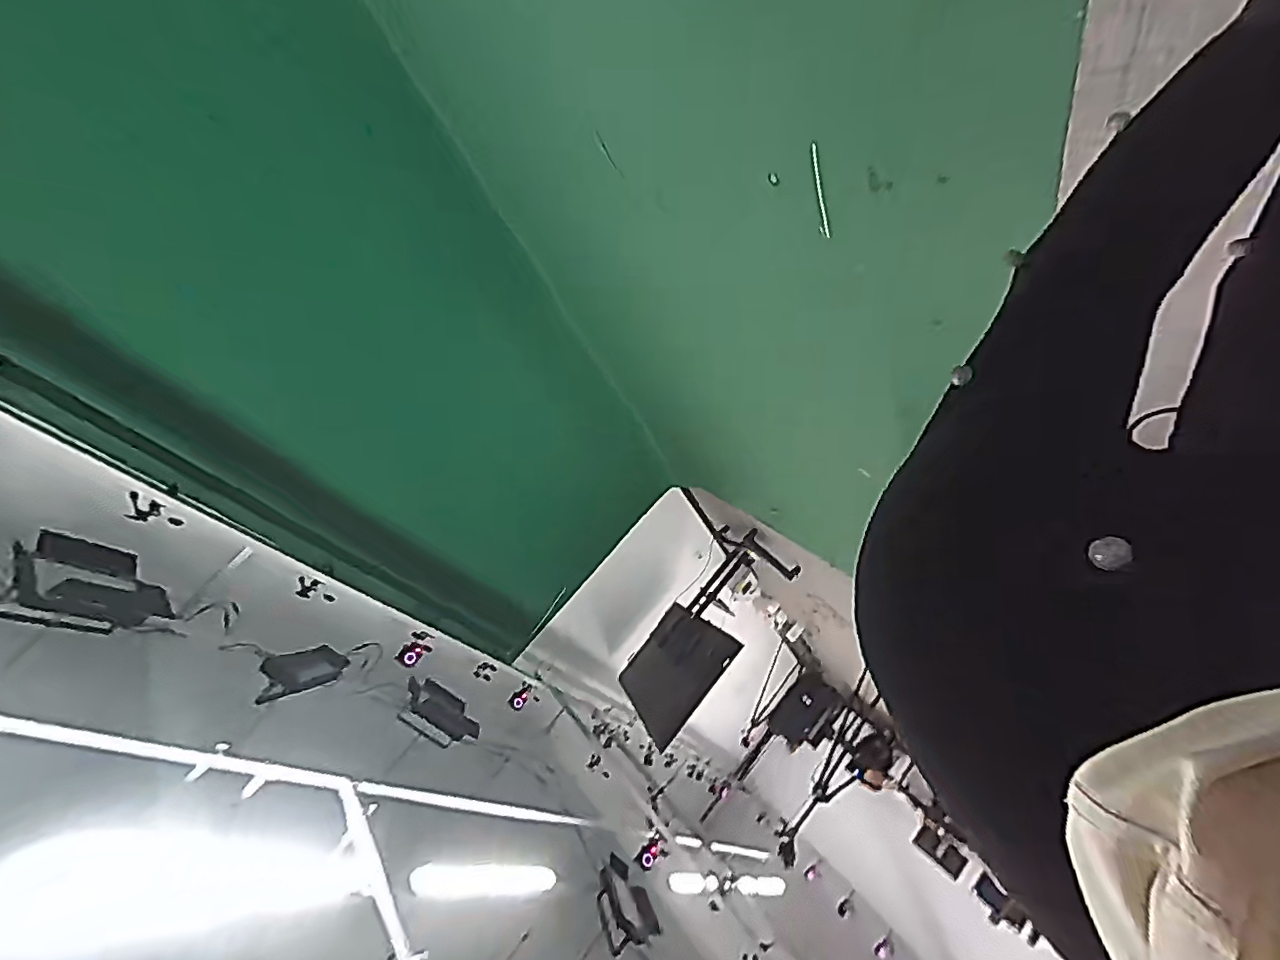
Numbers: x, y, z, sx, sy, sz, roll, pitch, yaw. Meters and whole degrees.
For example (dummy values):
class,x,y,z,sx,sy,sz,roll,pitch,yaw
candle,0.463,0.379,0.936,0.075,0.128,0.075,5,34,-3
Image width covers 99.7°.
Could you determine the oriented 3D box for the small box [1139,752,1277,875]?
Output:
class,x,y,z,sx,sy,sz,roll,pitch,yaw
small box,1.314,0.771,1.258,0.168,0.176,0.179,29,164,46
